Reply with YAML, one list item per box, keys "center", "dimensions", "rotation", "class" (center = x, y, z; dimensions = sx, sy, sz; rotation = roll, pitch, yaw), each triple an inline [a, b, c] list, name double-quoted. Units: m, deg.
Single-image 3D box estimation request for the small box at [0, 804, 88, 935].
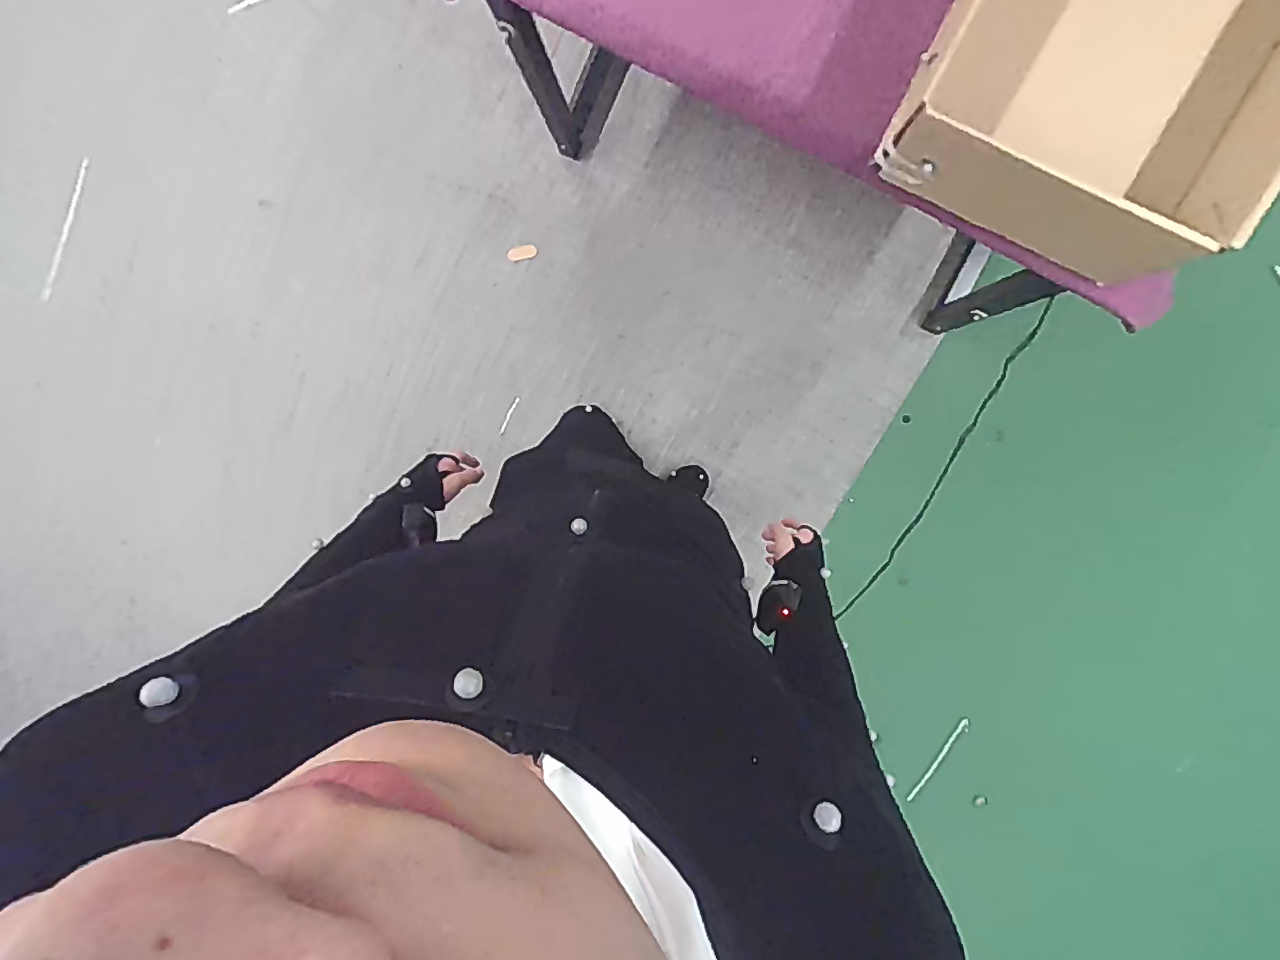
- center: [-1.321, 0.826, 1.121]
  dimensions: [0.179, 0.176, 0.168]
  rotation: [-44, 91, 8]
  class: "small box"
